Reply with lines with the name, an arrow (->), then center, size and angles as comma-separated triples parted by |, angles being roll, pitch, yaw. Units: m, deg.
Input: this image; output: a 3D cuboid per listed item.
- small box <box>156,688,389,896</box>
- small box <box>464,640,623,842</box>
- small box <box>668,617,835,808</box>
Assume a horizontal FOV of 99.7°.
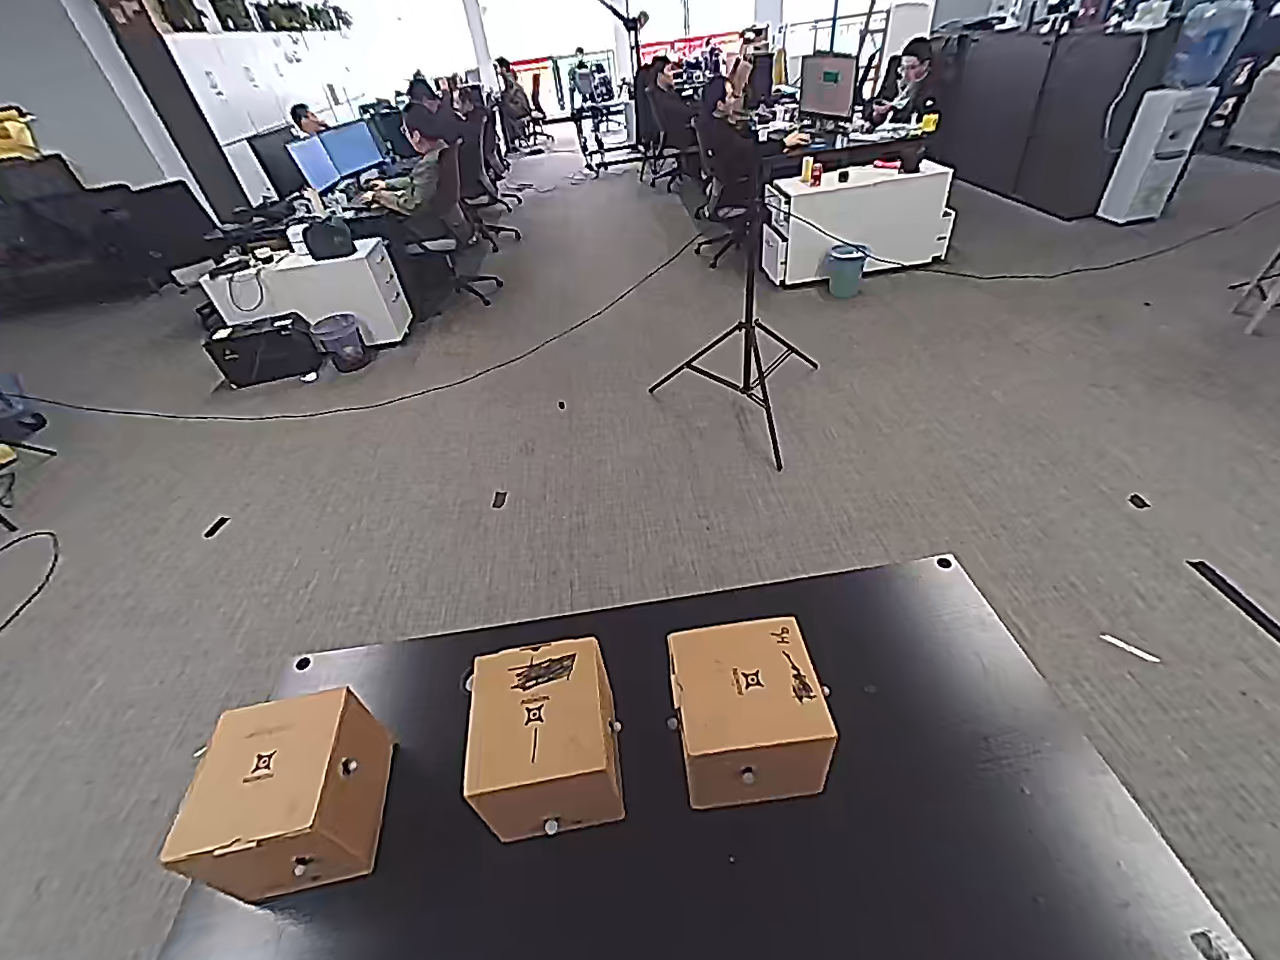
small box -> -0.445, 0.404, 0.696 | 0.168, 0.176, 0.179 | -10, 40, -5
small box -> -0.119, 0.343, 0.715 | 0.168, 0.176, 0.179 | -10, 41, -2
small box -> 0.139, 0.309, 0.715 | 0.179, 0.176, 0.168 | -8, 40, 1
